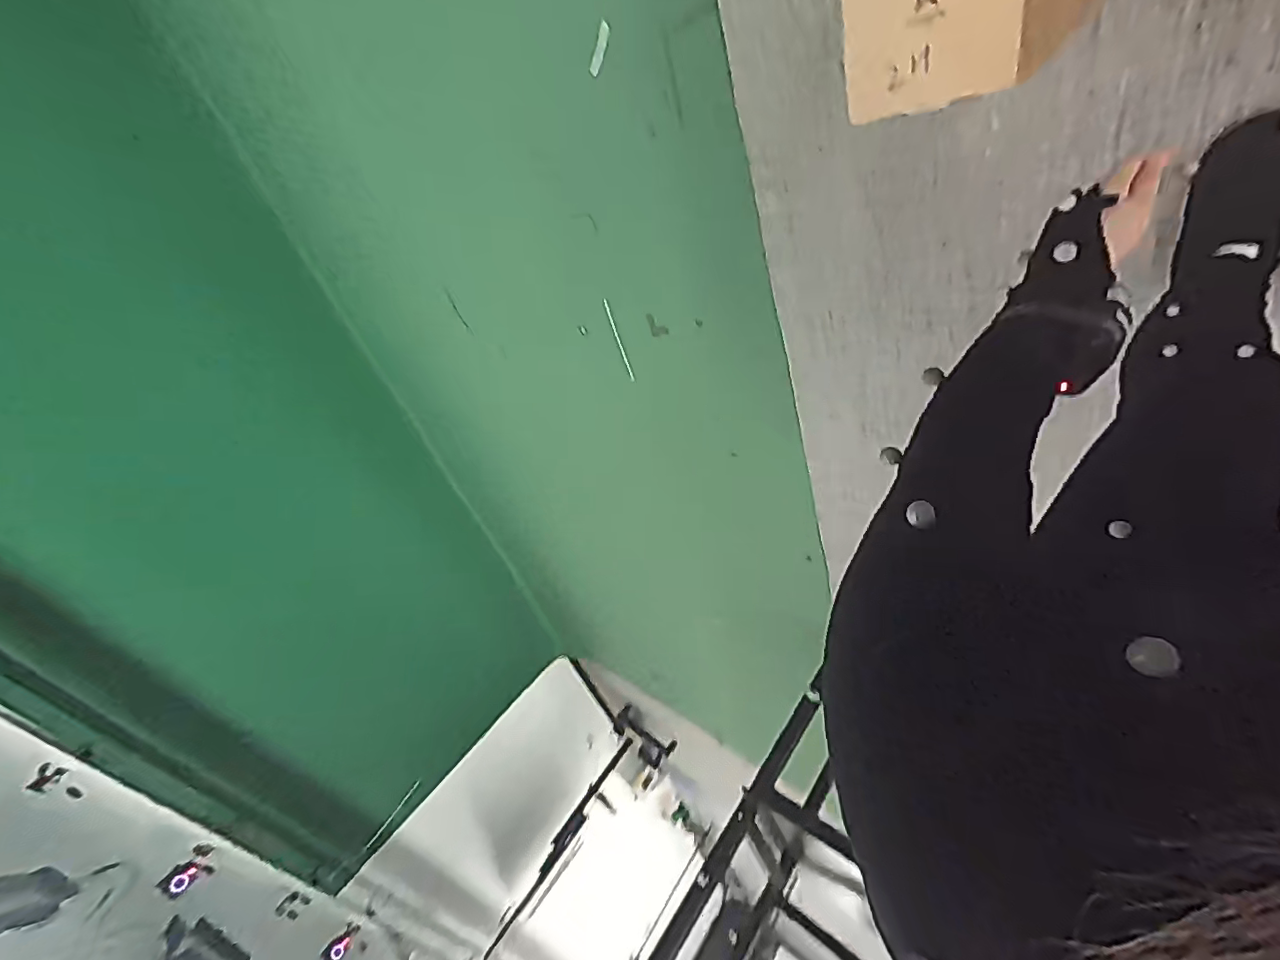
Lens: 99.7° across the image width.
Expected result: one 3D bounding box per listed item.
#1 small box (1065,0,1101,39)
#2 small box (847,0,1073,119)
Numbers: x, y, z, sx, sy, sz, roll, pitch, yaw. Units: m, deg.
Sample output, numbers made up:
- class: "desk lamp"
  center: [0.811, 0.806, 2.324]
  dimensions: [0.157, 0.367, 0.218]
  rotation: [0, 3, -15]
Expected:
- class: "small box"
  center: [0.431, -0.611, 0.632]
  dimensions: [0.168, 0.176, 0.179]
  rotation: [17, 141, 43]
- class: "small box"
  center: [0.329, -0.508, 0.553]
  dimensions: [0.168, 0.176, 0.179]
  rotation: [18, 140, 43]
